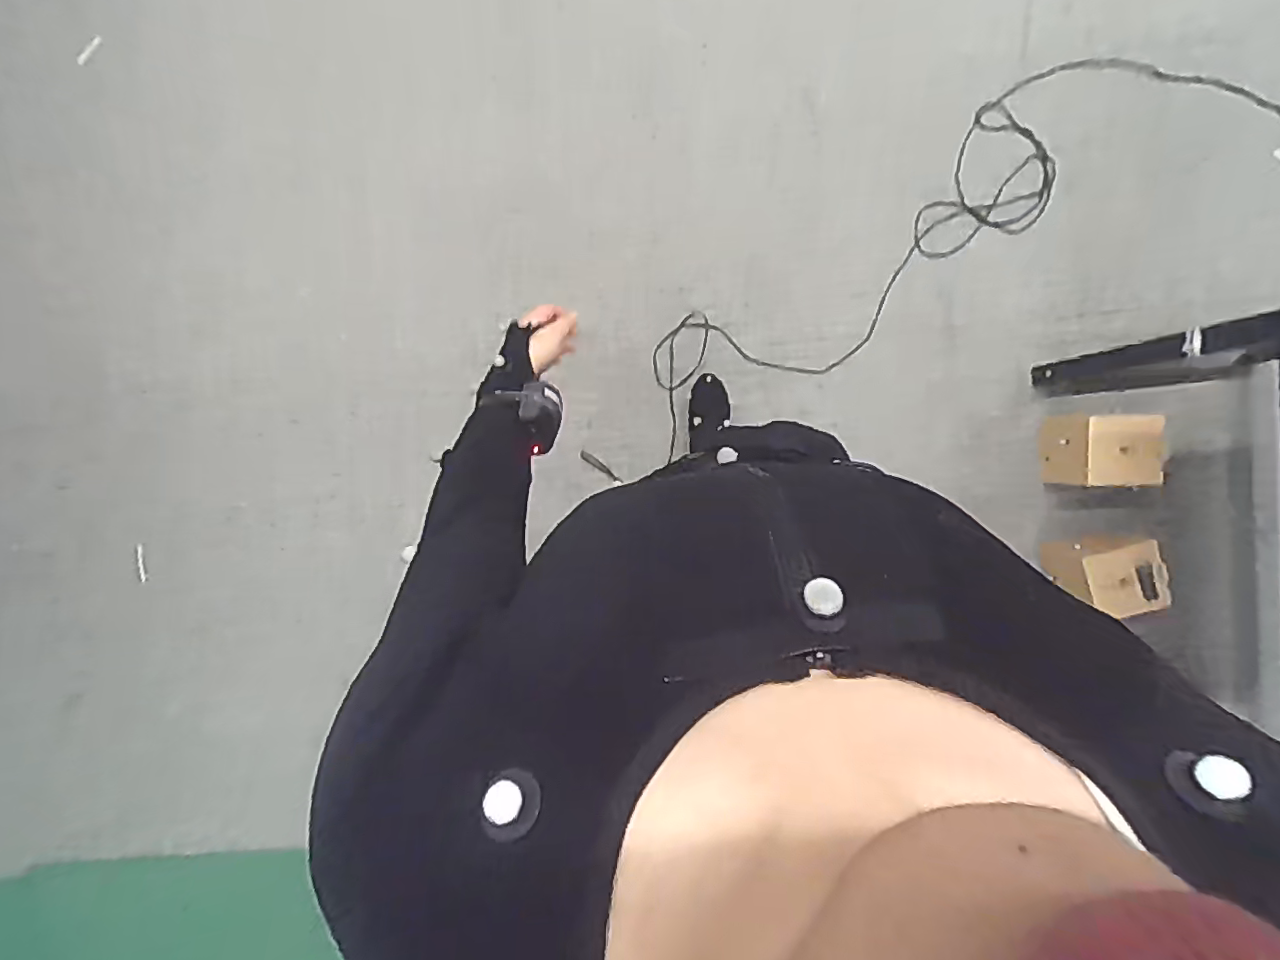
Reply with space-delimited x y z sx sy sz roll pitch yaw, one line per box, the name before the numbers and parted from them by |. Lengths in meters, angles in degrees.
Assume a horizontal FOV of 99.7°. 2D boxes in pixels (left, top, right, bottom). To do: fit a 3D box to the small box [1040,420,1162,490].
small box | 1.135 -0.059 1.345 0.179 0.176 0.168 -1 92 2
